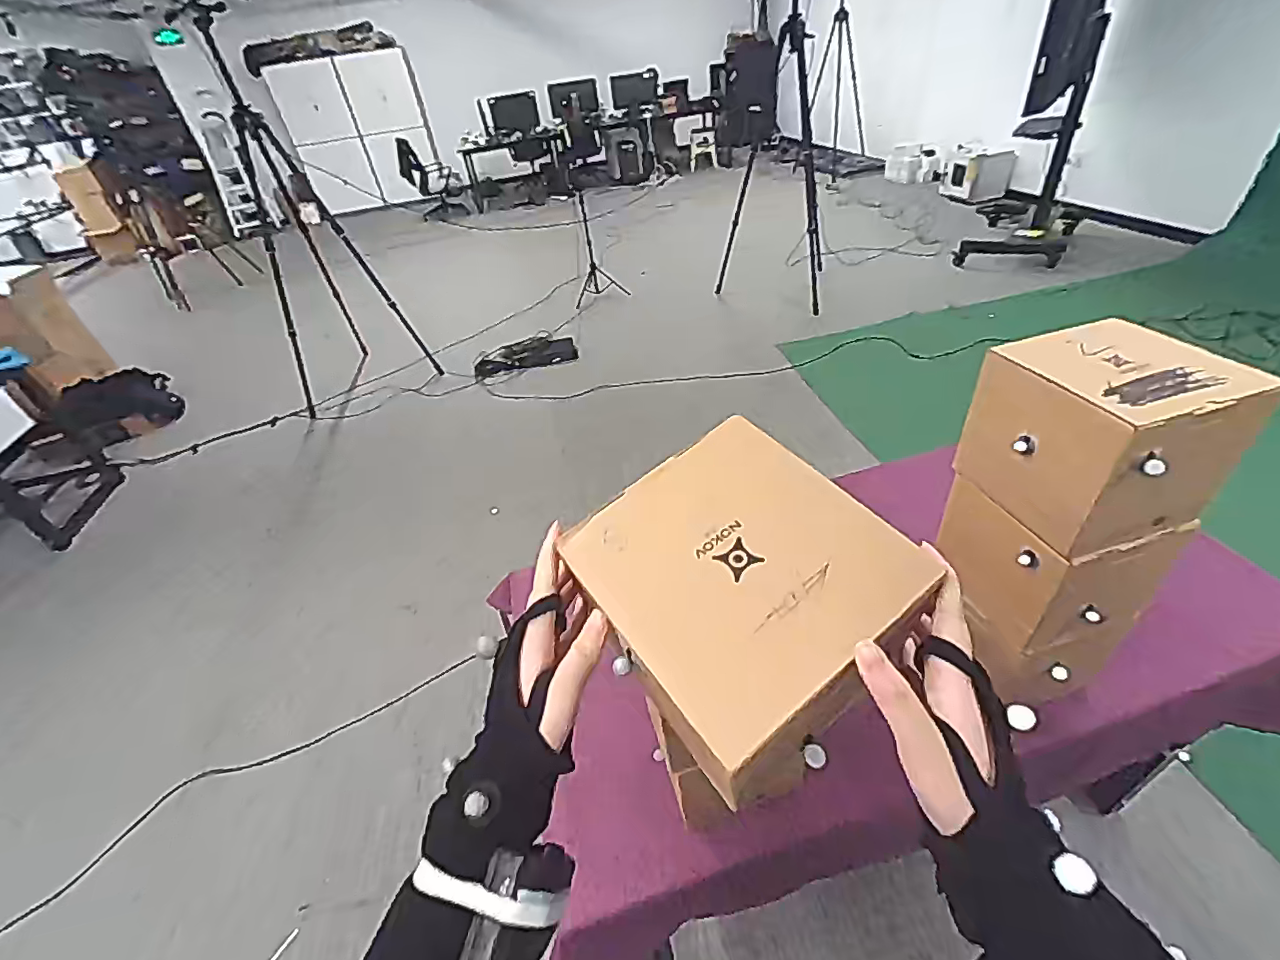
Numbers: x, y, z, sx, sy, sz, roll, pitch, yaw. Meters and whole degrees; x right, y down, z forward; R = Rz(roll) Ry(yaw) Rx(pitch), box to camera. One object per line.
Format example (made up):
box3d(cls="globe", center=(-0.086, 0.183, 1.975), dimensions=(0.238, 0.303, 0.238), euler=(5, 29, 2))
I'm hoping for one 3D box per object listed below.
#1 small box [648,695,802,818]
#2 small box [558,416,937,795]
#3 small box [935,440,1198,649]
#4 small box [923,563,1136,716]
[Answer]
box3d(cls="small box", center=(0.108, 0.323, 0.728), dimensions=(0.168, 0.176, 0.179), euler=(-15, 38, -8))
box3d(cls="small box", center=(0.068, 0.093, 0.395), dimensions=(0.168, 0.176, 0.179), euler=(-34, 53, -14))
box3d(cls="small box", center=(0.510, 0.078, 0.684), dimensions=(0.168, 0.176, 0.179), euler=(-15, 39, -7))
box3d(cls="small box", center=(0.537, 0.208, 0.780), dimensions=(0.179, 0.176, 0.168), euler=(-17, 39, -8))
